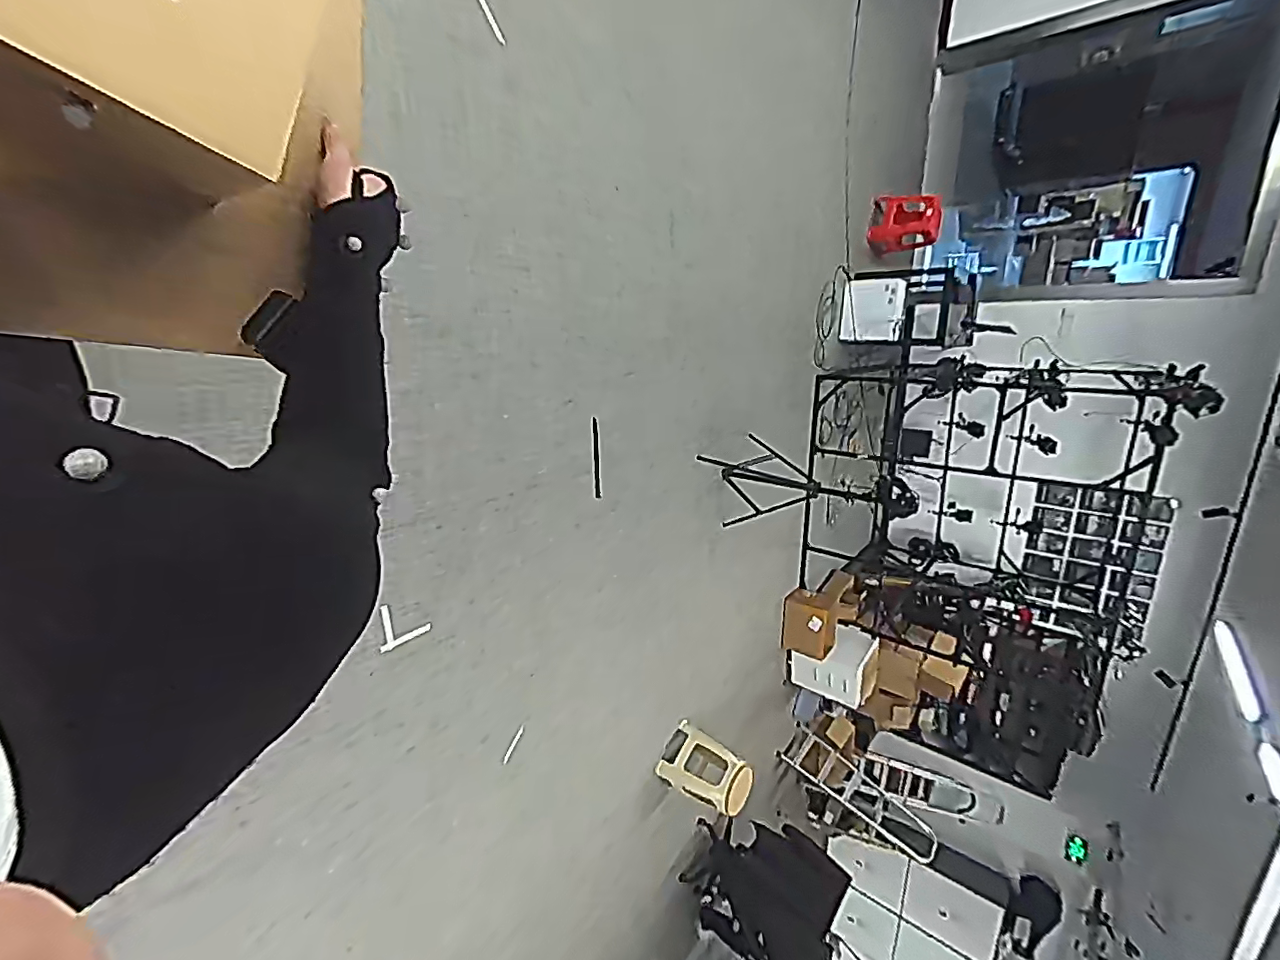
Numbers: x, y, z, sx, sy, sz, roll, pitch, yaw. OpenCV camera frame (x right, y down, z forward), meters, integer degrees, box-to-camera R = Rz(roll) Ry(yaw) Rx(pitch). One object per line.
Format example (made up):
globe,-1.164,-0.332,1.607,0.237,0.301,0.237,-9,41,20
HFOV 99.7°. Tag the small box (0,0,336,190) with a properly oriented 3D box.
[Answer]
small box,-0.344,-0.324,0.370,0.179,0.176,0.168,14,93,-50
